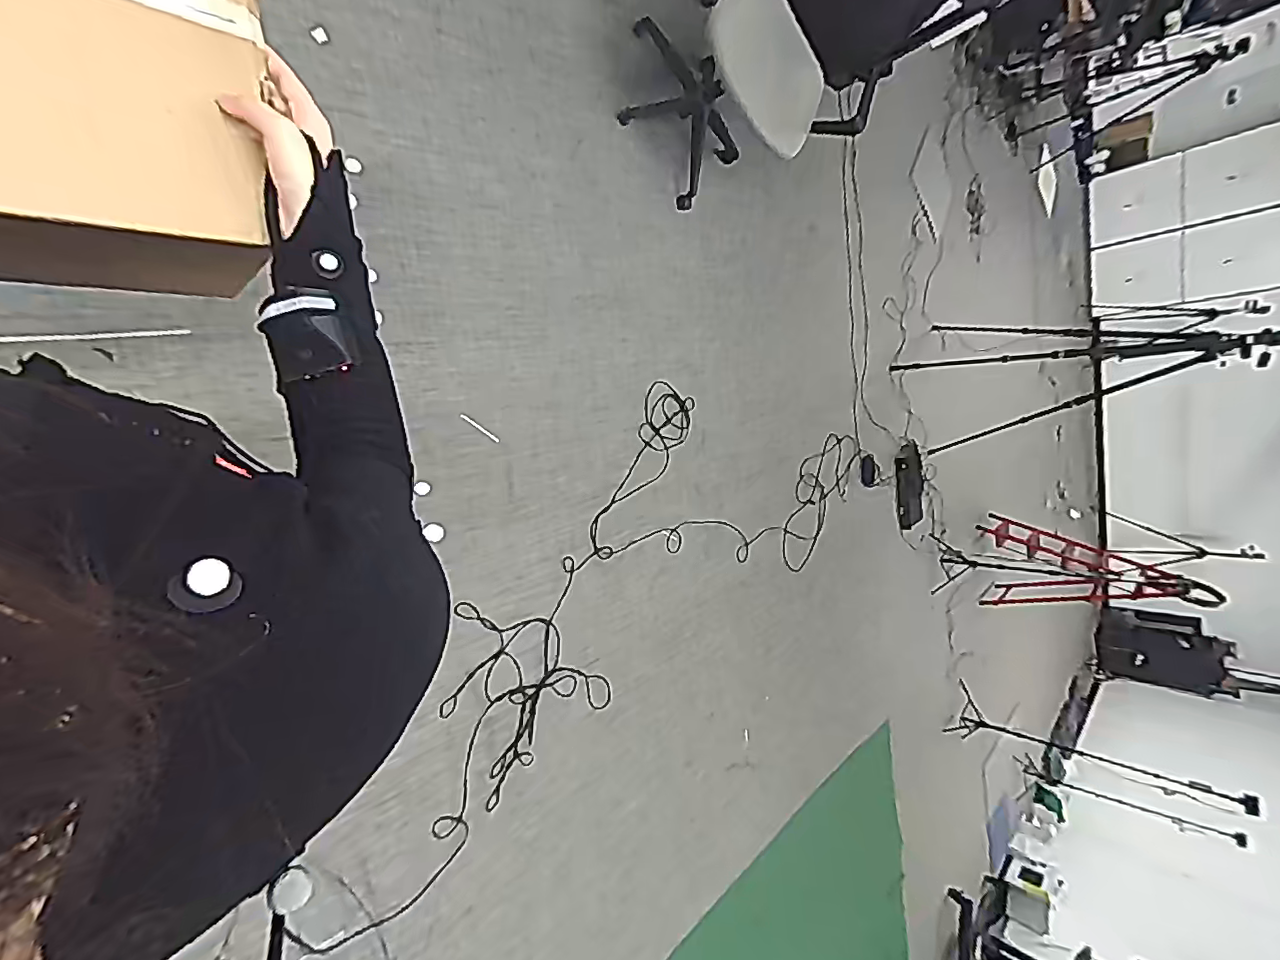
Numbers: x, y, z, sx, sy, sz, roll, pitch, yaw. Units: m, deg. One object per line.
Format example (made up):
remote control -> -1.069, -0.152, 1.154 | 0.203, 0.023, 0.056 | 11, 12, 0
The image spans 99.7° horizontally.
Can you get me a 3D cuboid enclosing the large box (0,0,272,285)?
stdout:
large box -> -0.554, -0.336, 0.404 | 0.408, 0.320, 0.320 | -10, 103, -40
